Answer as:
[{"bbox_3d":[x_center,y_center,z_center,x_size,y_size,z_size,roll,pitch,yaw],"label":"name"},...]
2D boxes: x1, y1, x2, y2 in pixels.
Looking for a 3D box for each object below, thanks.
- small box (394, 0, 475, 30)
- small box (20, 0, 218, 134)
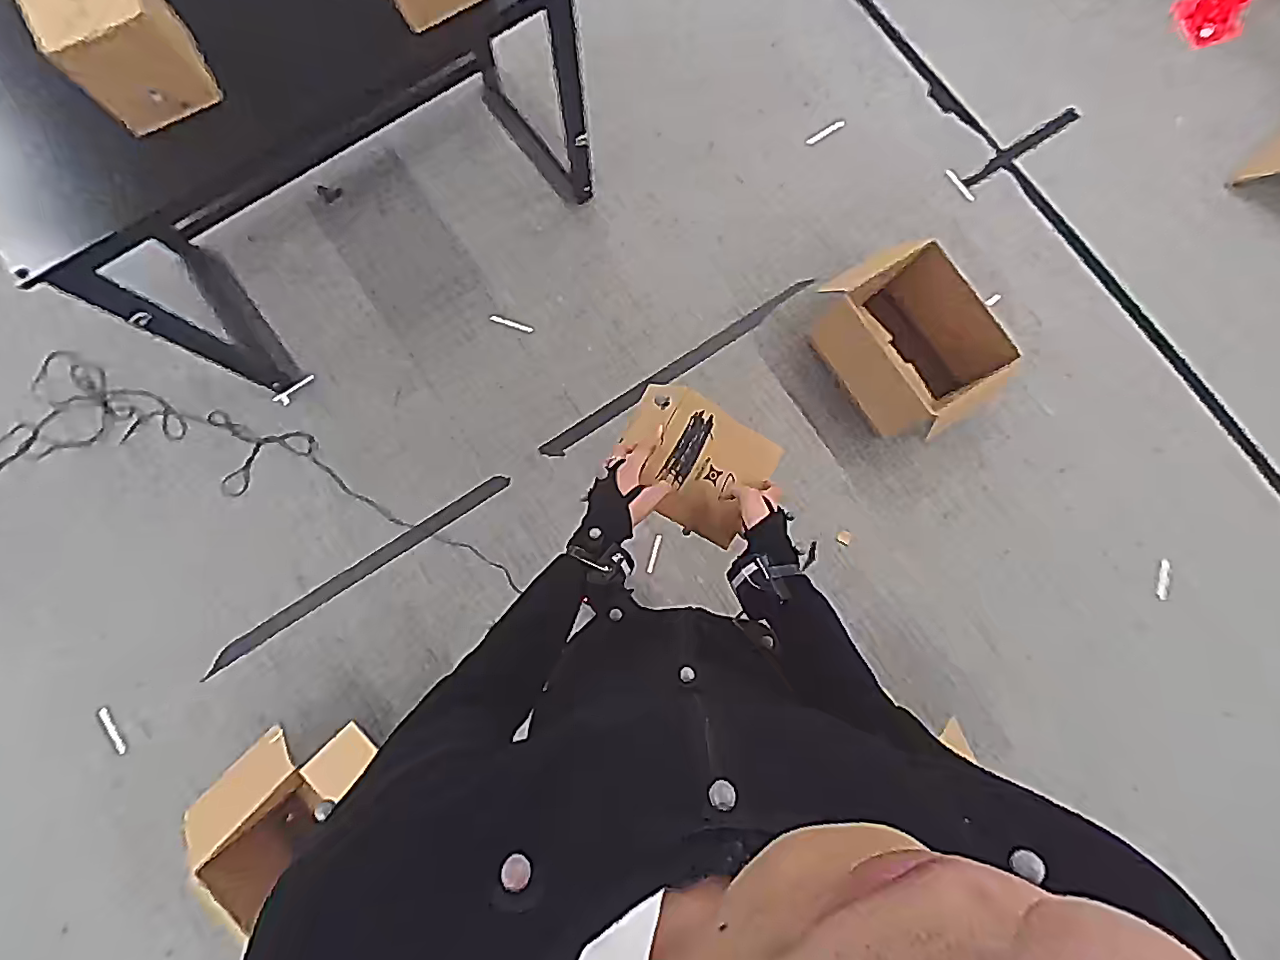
[{"bbox_3d":[-0.401,-0.984,0.976,0.179,0.176,0.168,-33,83,-4],"label":"small box"},{"bbox_3d":[-0.892,-0.754,0.933,0.168,0.176,0.179,-29,84,-5],"label":"small box"}]
